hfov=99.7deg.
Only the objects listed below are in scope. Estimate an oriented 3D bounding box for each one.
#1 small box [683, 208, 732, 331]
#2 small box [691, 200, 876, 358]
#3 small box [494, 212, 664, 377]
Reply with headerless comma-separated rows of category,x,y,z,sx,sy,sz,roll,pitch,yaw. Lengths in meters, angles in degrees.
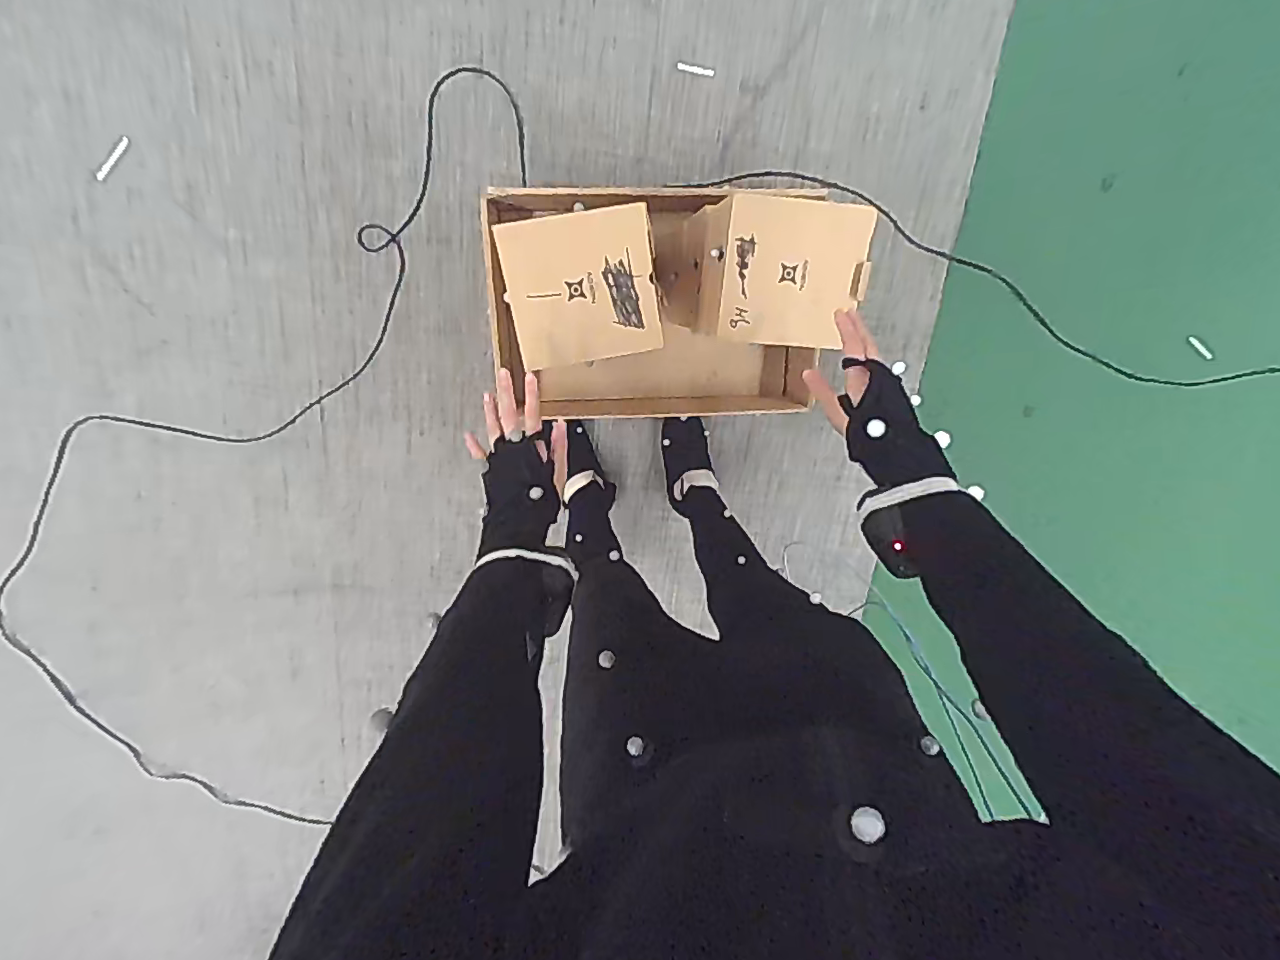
small box,0.165,-0.325,0.872,0.168,0.176,0.179,0,109,-4
small box,0.176,-0.261,0.719,0.179,0.176,0.168,3,108,-6
small box,-0.076,-0.241,0.706,0.179,0.176,0.168,-10,110,-2
